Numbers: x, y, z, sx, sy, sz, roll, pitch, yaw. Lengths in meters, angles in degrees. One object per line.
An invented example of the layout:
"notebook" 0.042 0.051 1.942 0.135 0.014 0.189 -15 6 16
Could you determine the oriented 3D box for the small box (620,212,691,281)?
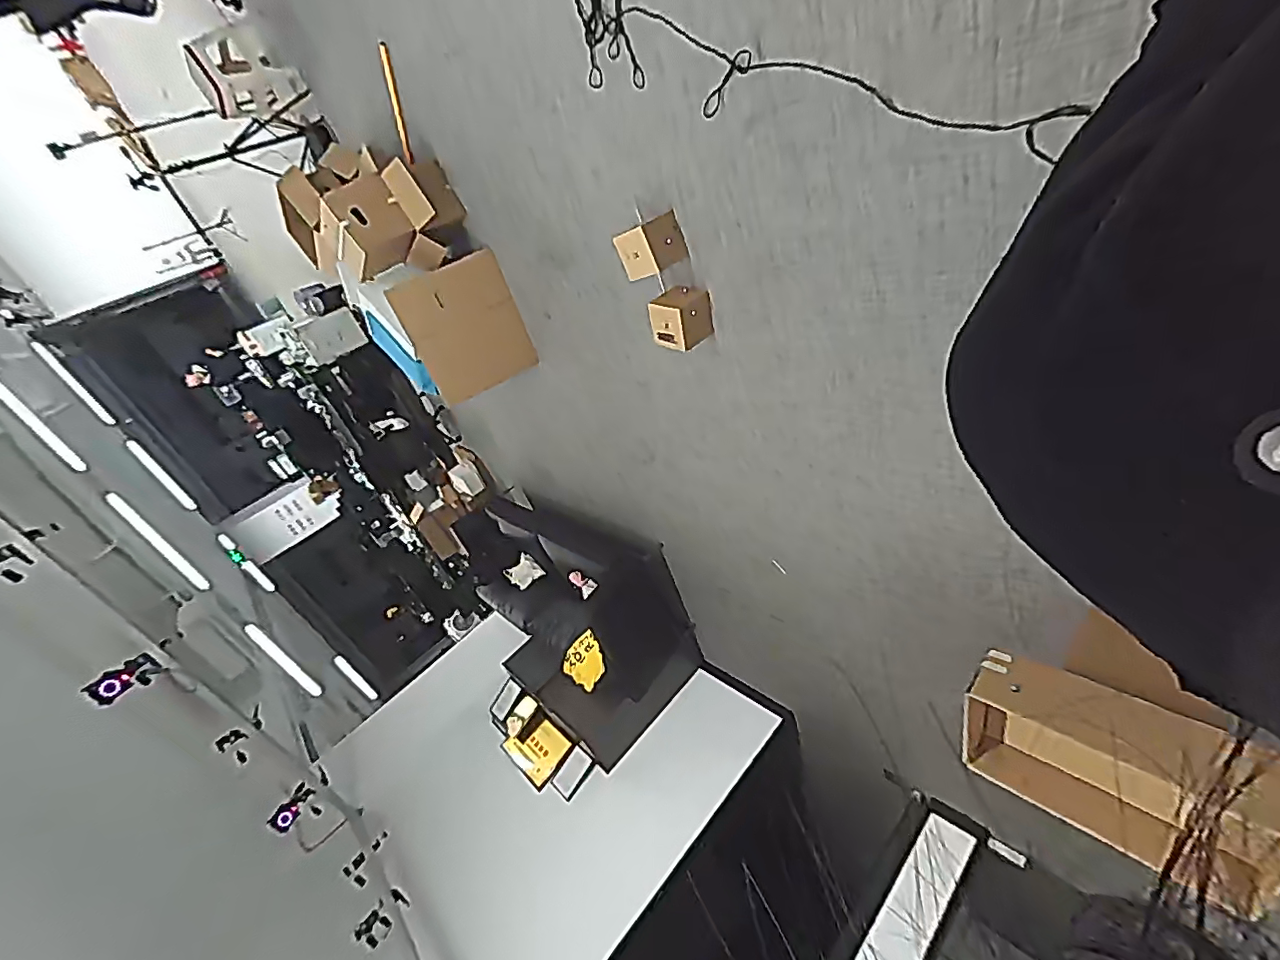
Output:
"small box" 0.064 -0.852 1.972 0.179 0.176 0.168 10 133 53
